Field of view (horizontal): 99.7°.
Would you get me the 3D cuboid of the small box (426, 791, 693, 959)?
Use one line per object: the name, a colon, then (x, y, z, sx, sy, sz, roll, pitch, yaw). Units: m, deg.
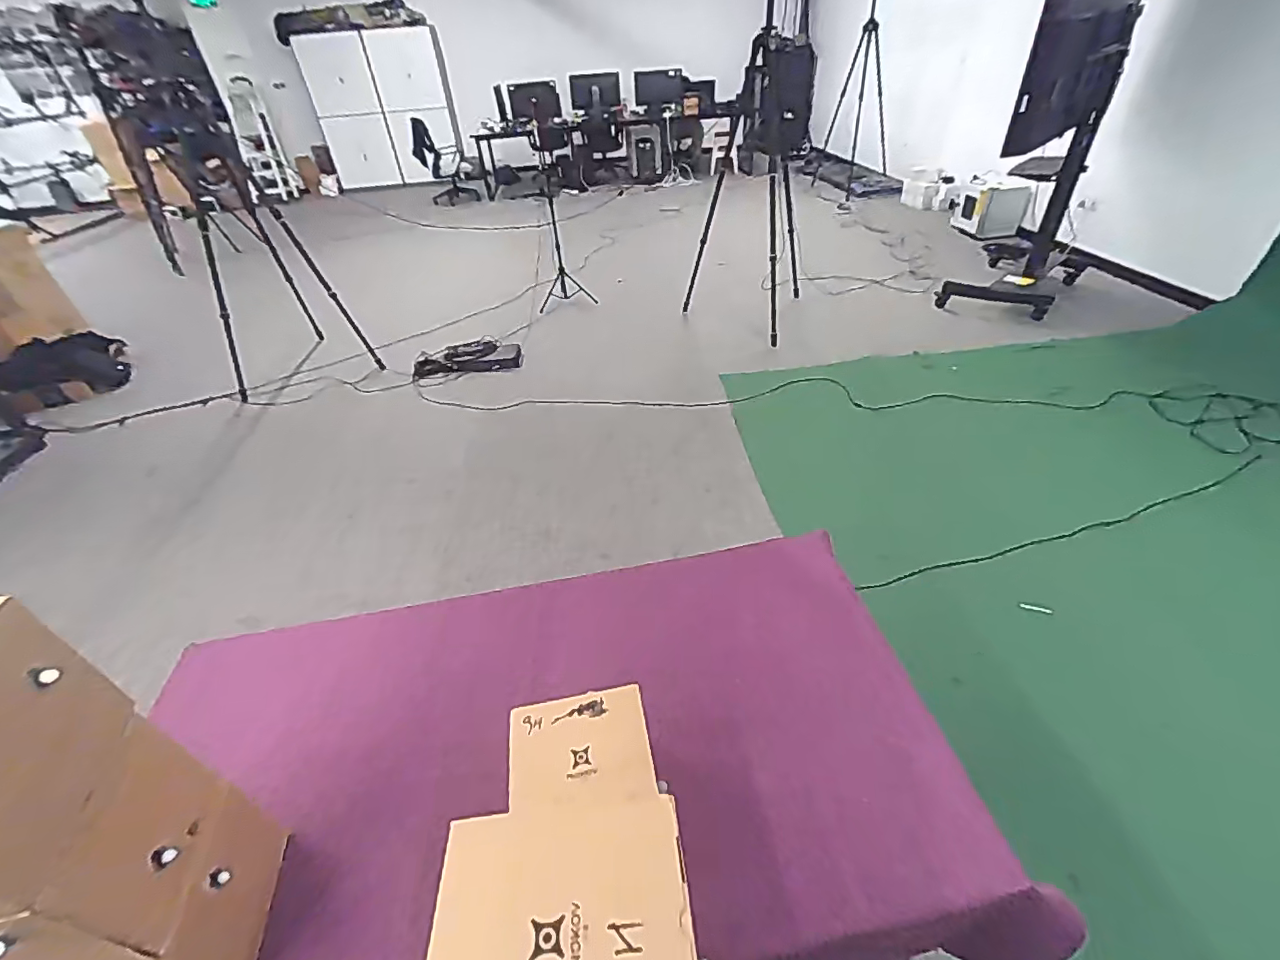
small box: (-0.050, 0.365, 0.405, 0.179, 0.176, 0.168, -5, 36, -3)

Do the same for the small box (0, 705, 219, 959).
small box: (-0.558, 0.349, 0.511, 0.179, 0.176, 0.168, -10, 40, -9)

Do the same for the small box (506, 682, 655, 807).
small box: (-0.066, 0.386, 0.674, 0.168, 0.176, 0.179, -9, 40, -5)

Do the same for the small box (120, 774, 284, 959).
small box: (-0.544, 0.474, 0.613, 0.168, 0.176, 0.179, -9, 39, -7)
